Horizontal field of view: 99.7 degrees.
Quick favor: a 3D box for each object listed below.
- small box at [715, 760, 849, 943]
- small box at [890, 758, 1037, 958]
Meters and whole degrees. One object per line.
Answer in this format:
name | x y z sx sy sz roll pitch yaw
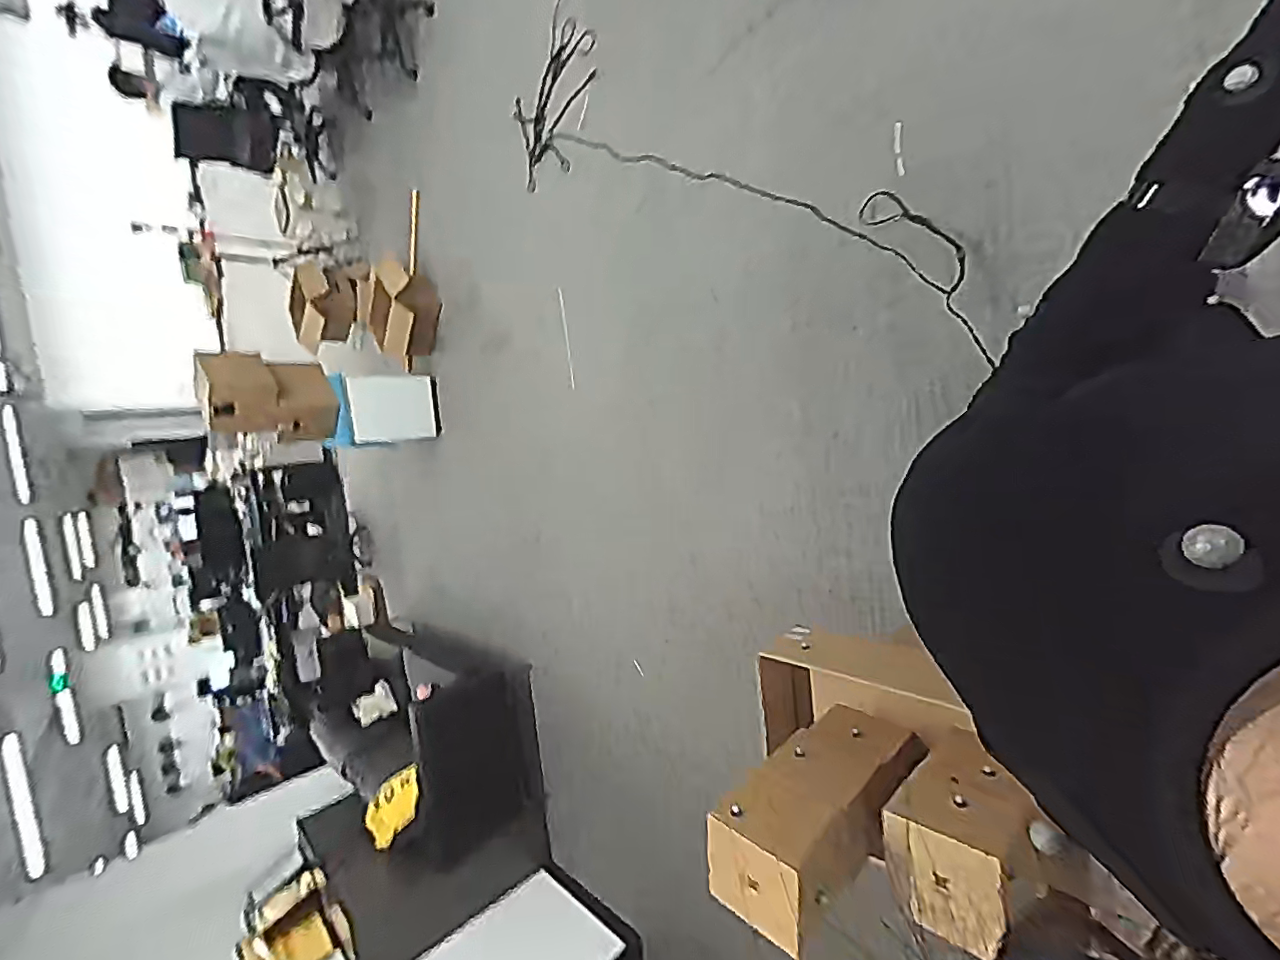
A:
small box | 0.254 0.639 0.960 0.179 0.176 0.168 8 105 46
small box | 0.529 0.595 0.883 0.168 0.176 0.179 0 98 49
